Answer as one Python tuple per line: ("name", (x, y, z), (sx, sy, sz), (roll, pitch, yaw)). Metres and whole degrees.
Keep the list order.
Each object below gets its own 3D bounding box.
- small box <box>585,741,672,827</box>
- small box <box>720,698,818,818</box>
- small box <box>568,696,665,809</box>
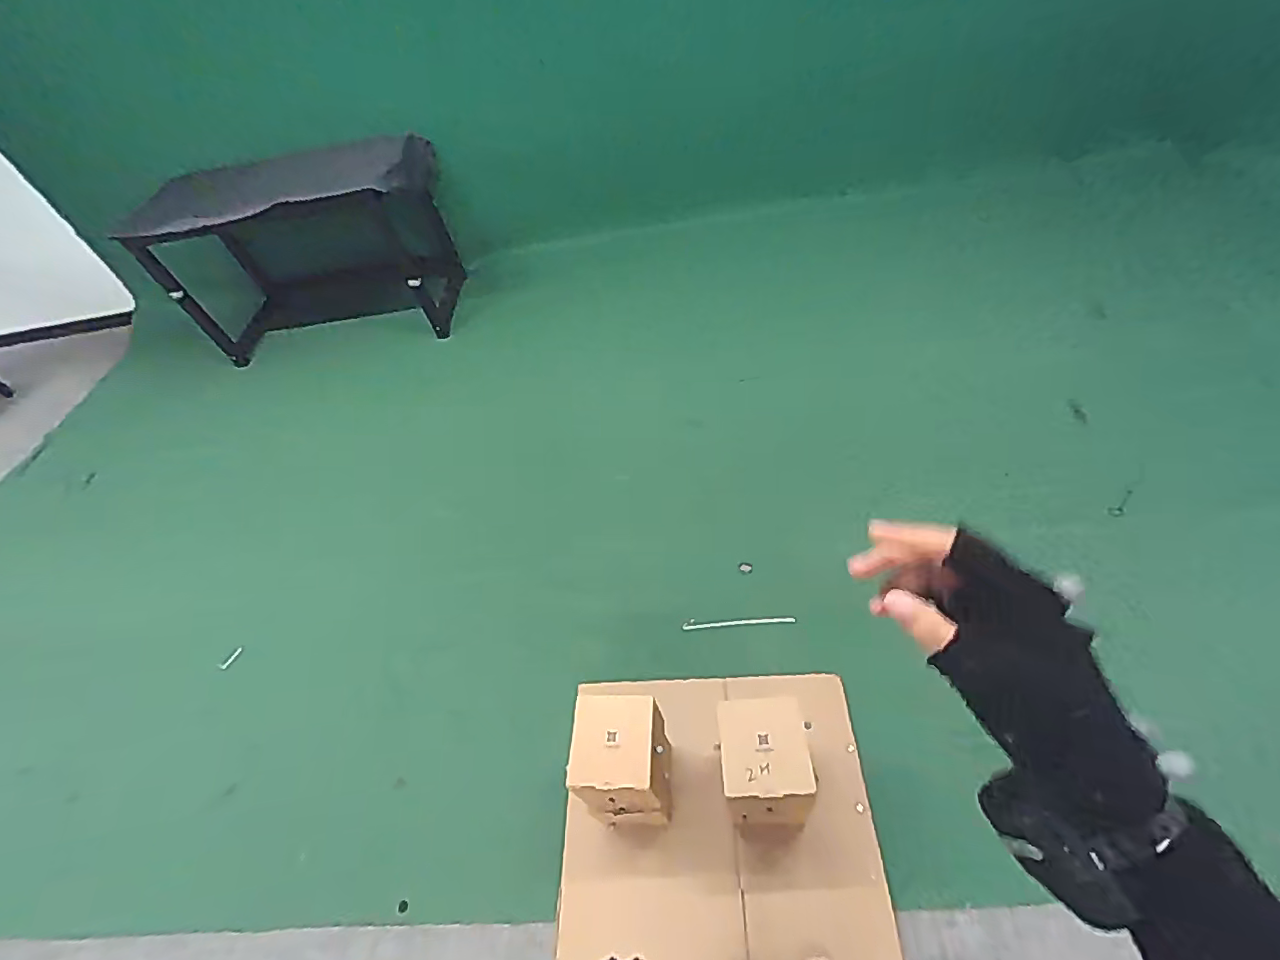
("small box", (-0.018, 0.685, 1.245), (0.168, 0.176, 0.179), (-5, 48, 9))
("small box", (0.249, 0.555, 1.078), (0.168, 0.176, 0.179), (-6, 48, 8))
("small box", (-0.040, 0.570, 1.131), (0.168, 0.176, 0.179), (-4, 49, 9))
